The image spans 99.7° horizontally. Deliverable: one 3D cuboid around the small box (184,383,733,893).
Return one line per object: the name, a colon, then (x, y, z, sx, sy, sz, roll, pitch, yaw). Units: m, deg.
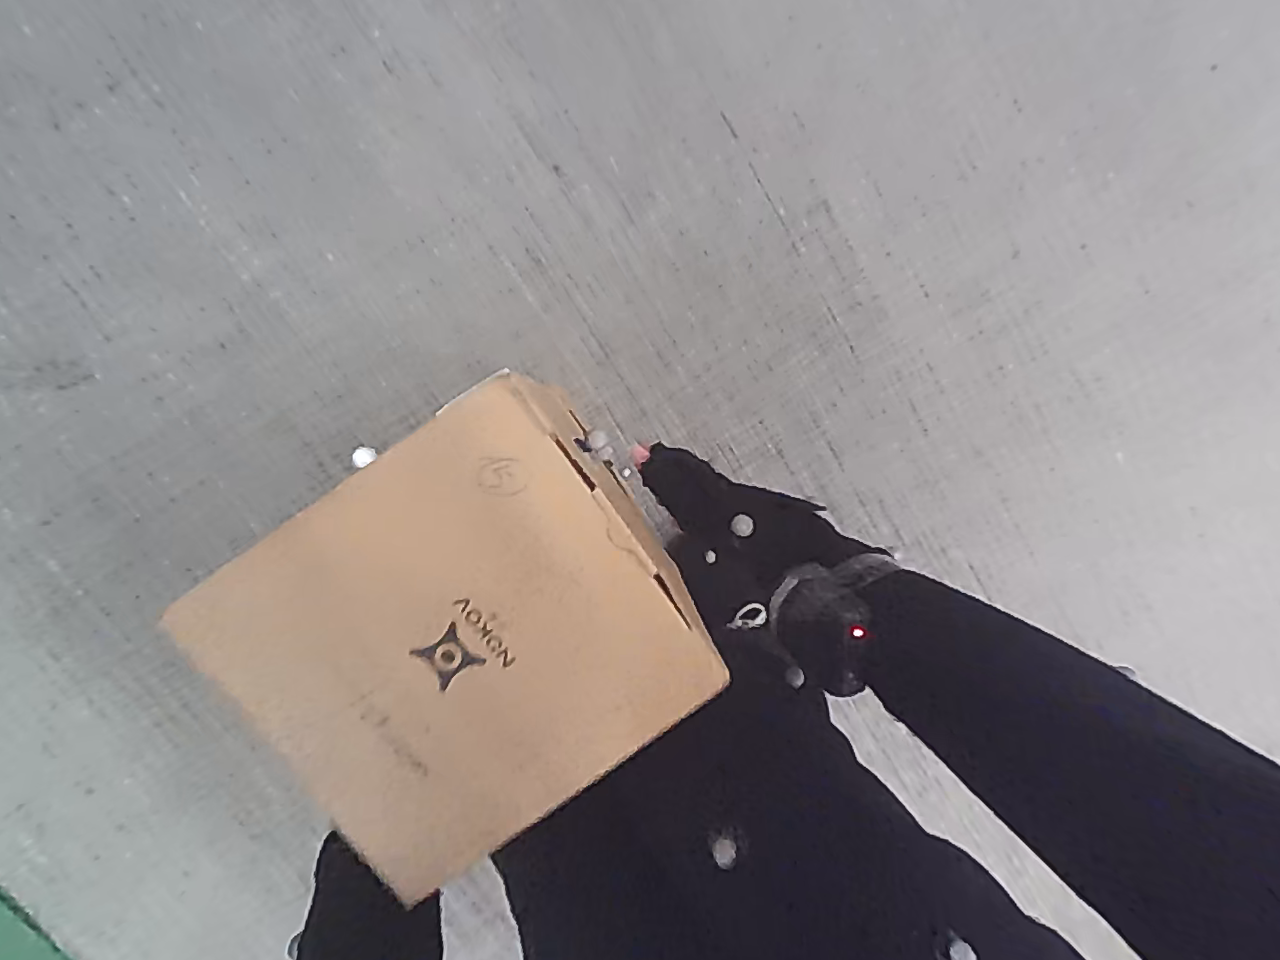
small box: (-0.078, 0.062, 0.309, 0.179, 0.176, 0.168, -35, 97, 2)
